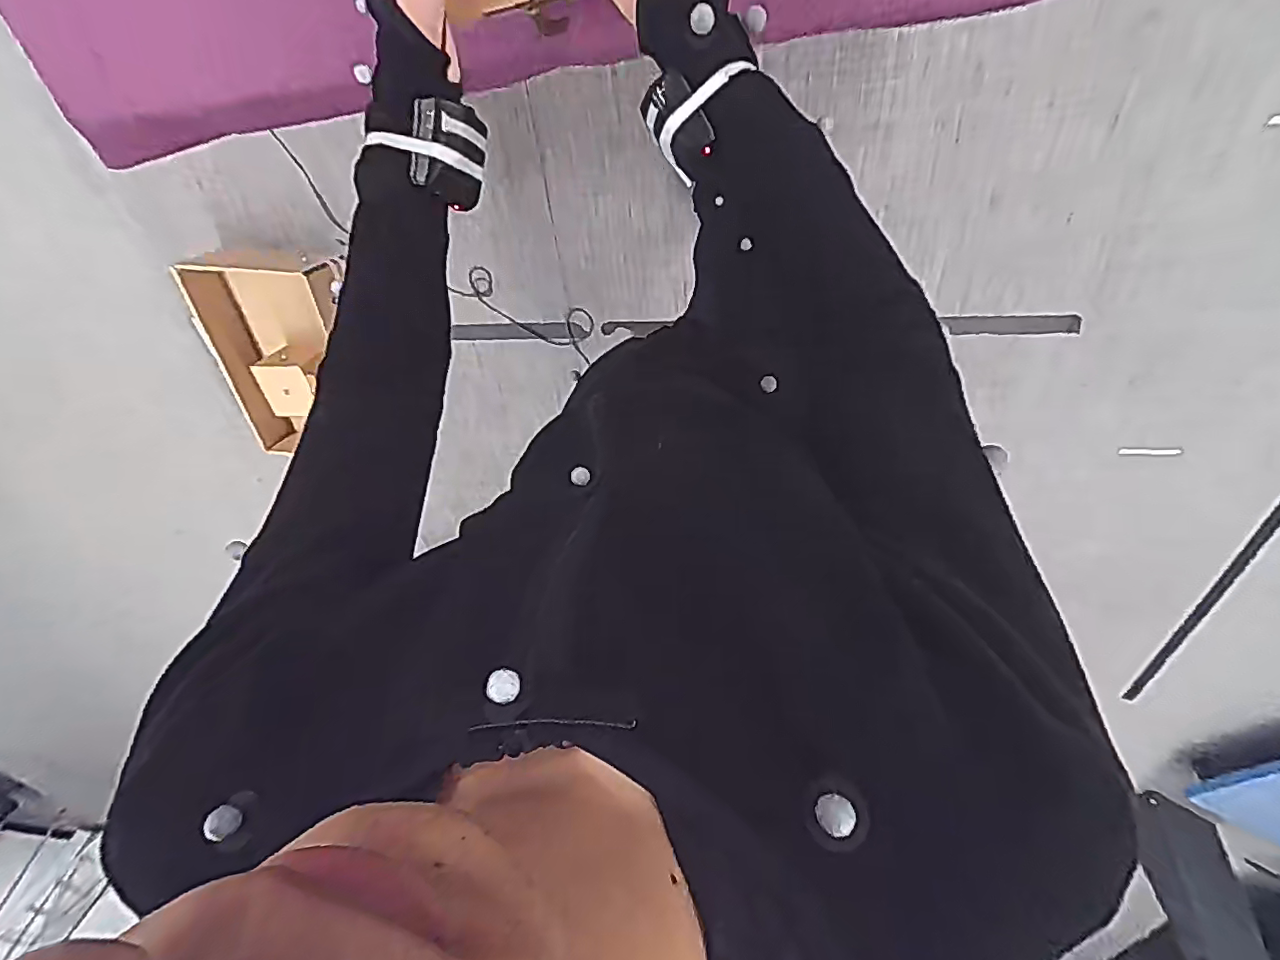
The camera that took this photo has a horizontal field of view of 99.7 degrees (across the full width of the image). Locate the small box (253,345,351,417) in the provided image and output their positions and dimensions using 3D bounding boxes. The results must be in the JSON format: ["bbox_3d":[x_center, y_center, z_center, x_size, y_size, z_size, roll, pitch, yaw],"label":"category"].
[{"bbox_3d":[-1.028,-0.309,1.669,0.179,0.176,0.168,2,126,10],"label":"small box"}]
